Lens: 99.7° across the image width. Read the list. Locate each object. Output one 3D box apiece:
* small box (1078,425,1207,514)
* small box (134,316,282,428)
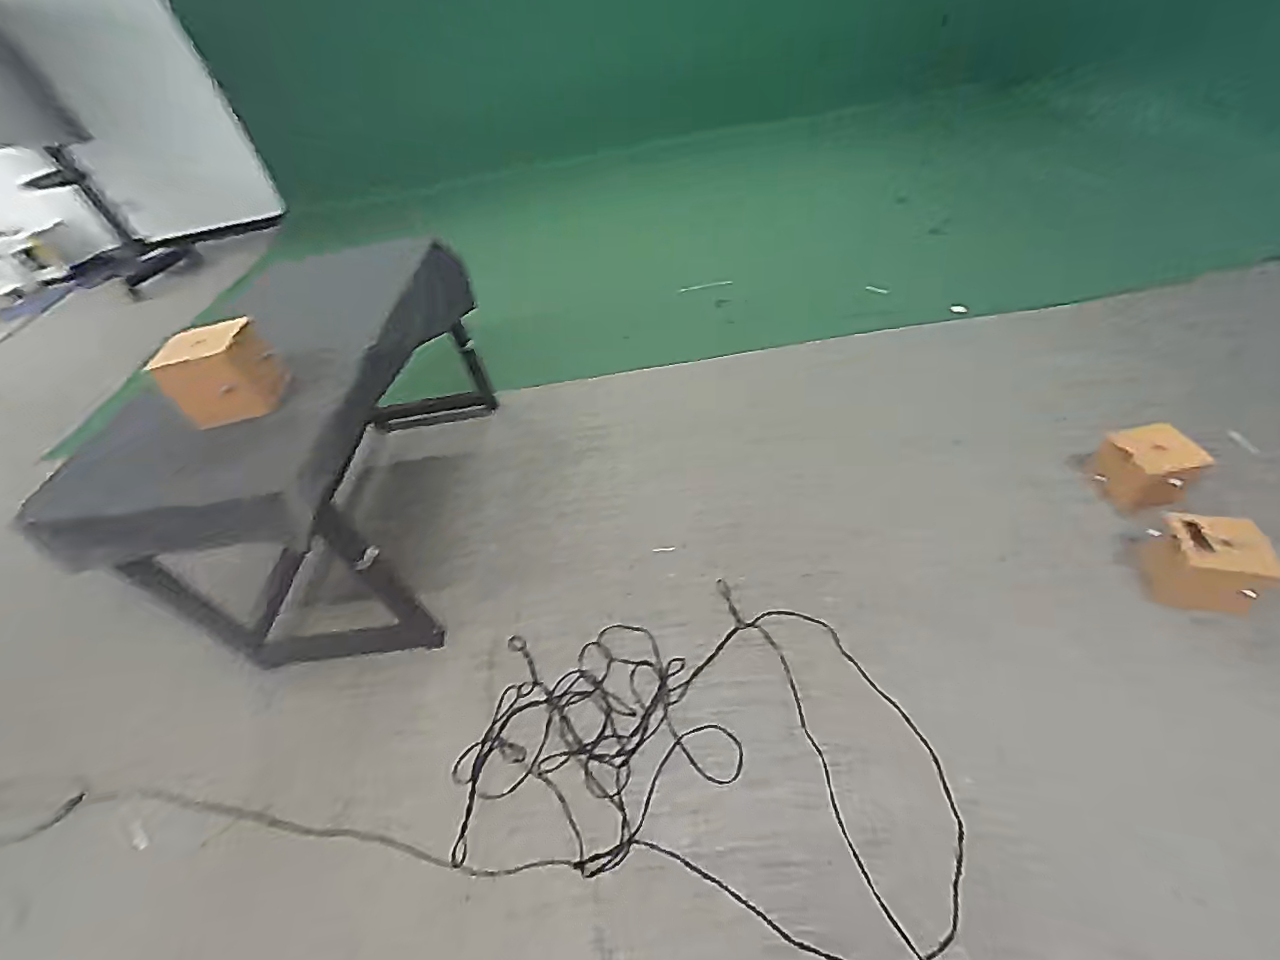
[{"bbox_3d":[1.405,-0.027,1.529,0.179,0.176,0.168,-12,45,1],"label":"small box"},{"bbox_3d":[-0.963,-0.243,1.229,0.179,0.176,0.168,-14,44,0],"label":"small box"}]
